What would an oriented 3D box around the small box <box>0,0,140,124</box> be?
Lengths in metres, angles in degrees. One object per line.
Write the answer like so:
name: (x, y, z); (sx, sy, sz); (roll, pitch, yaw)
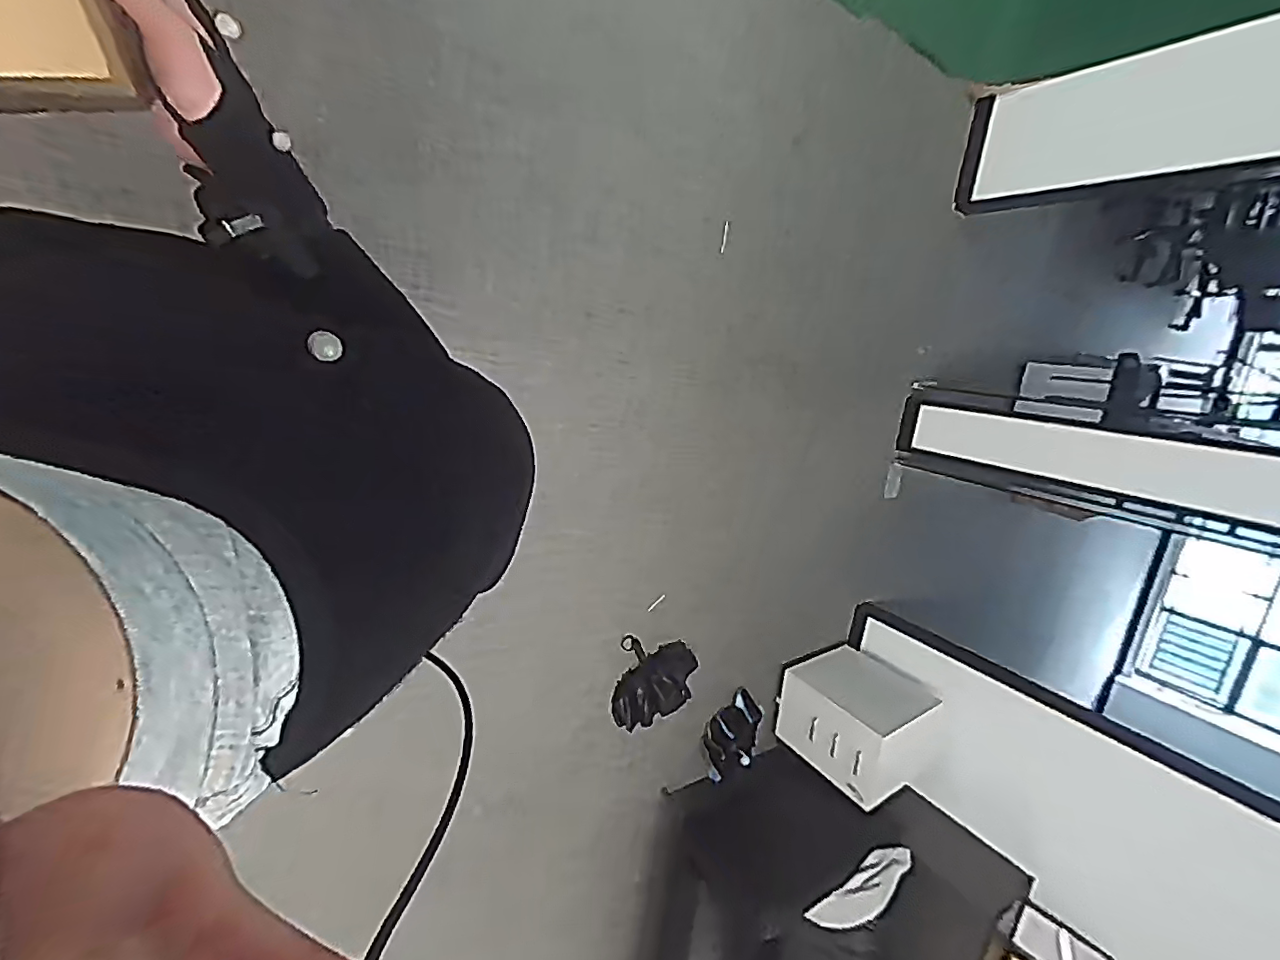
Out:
small box: (-0.379, -0.275, 0.248); (0.168, 0.176, 0.179); (-21, 125, -27)
